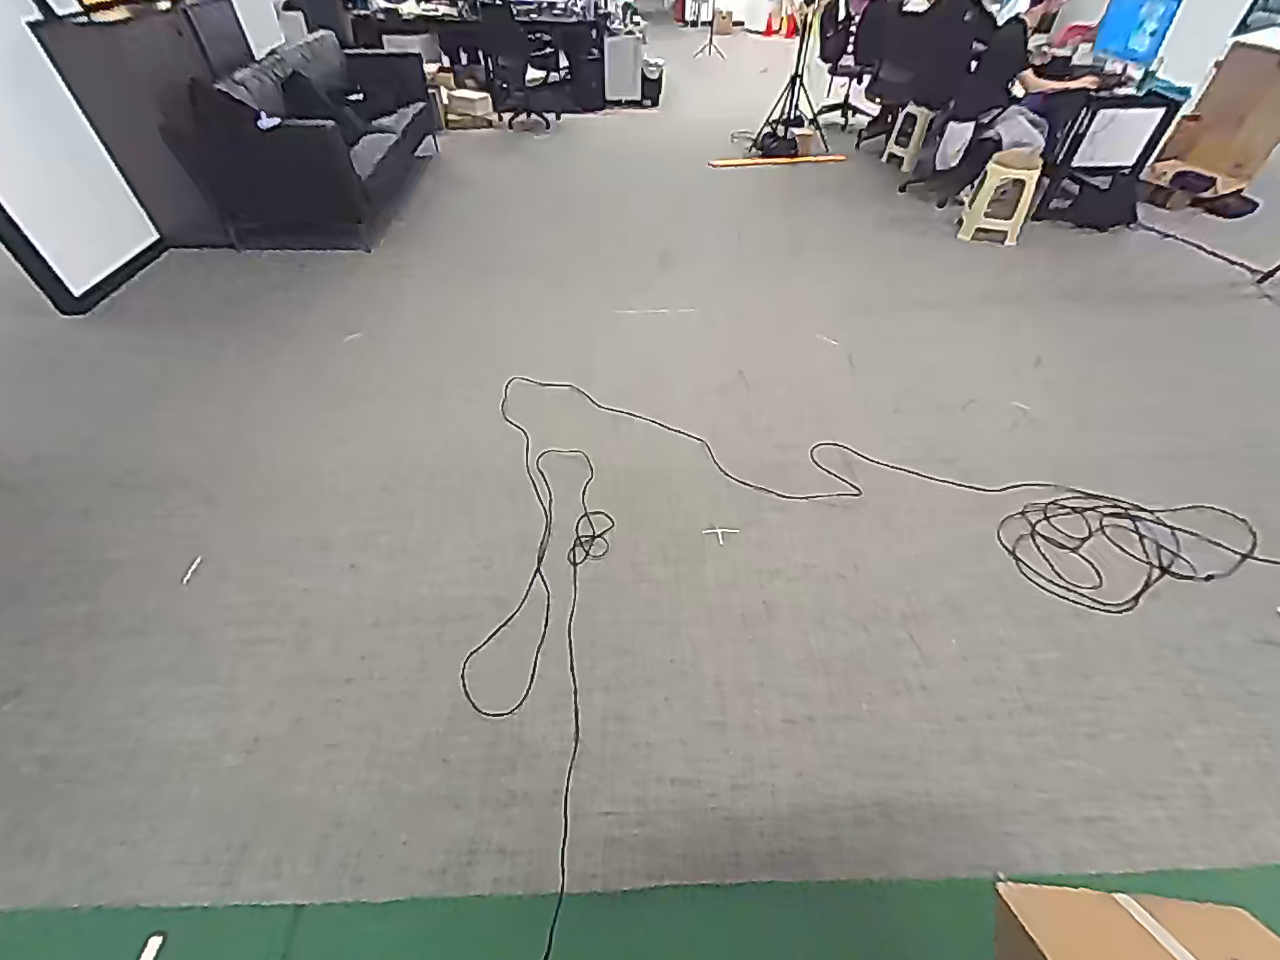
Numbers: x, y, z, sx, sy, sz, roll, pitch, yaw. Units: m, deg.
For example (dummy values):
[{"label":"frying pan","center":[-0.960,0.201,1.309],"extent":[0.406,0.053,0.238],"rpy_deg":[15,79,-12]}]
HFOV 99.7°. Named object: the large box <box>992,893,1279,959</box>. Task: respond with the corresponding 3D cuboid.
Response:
[{"label":"large box","center":[0.618,0.724,0.539],"extent":[0.320,0.408,0.320],"rpy_deg":[2,89,7]}]
